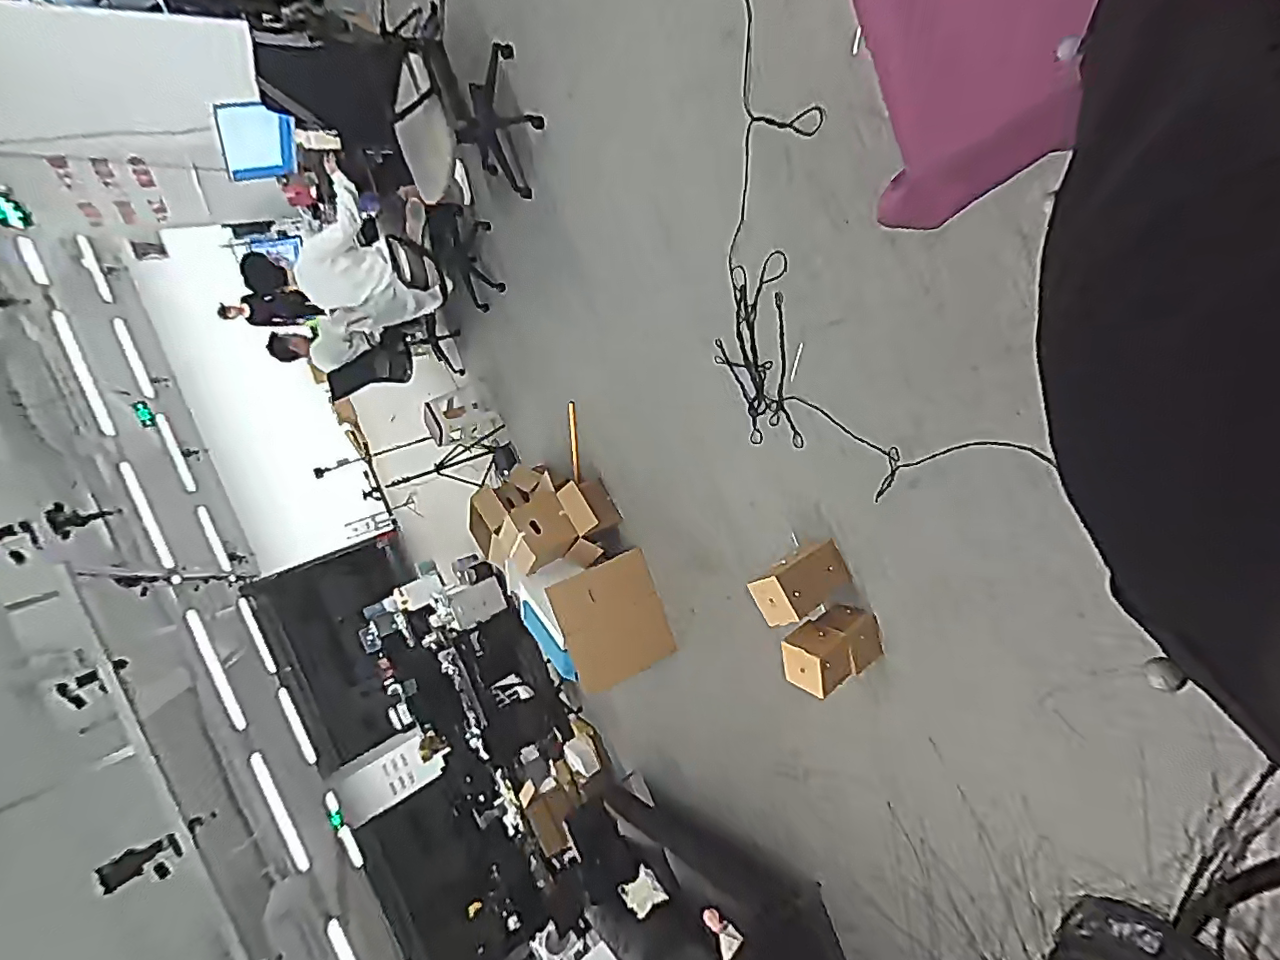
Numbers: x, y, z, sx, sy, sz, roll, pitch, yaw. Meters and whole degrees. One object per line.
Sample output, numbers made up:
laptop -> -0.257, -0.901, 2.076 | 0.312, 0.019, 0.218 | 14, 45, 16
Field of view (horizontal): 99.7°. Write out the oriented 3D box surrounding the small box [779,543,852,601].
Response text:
small box -> 0.665, 0.351, 2.028 | 0.179, 0.176, 0.168 | -31, 83, 59

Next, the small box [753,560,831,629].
small box -> 0.546, 0.410, 1.933 | 0.179, 0.176, 0.168 | 62, 148, 7

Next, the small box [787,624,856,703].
small box -> 0.653, 0.650, 1.934 | 0.168, 0.176, 0.179 | 13, 119, 54
